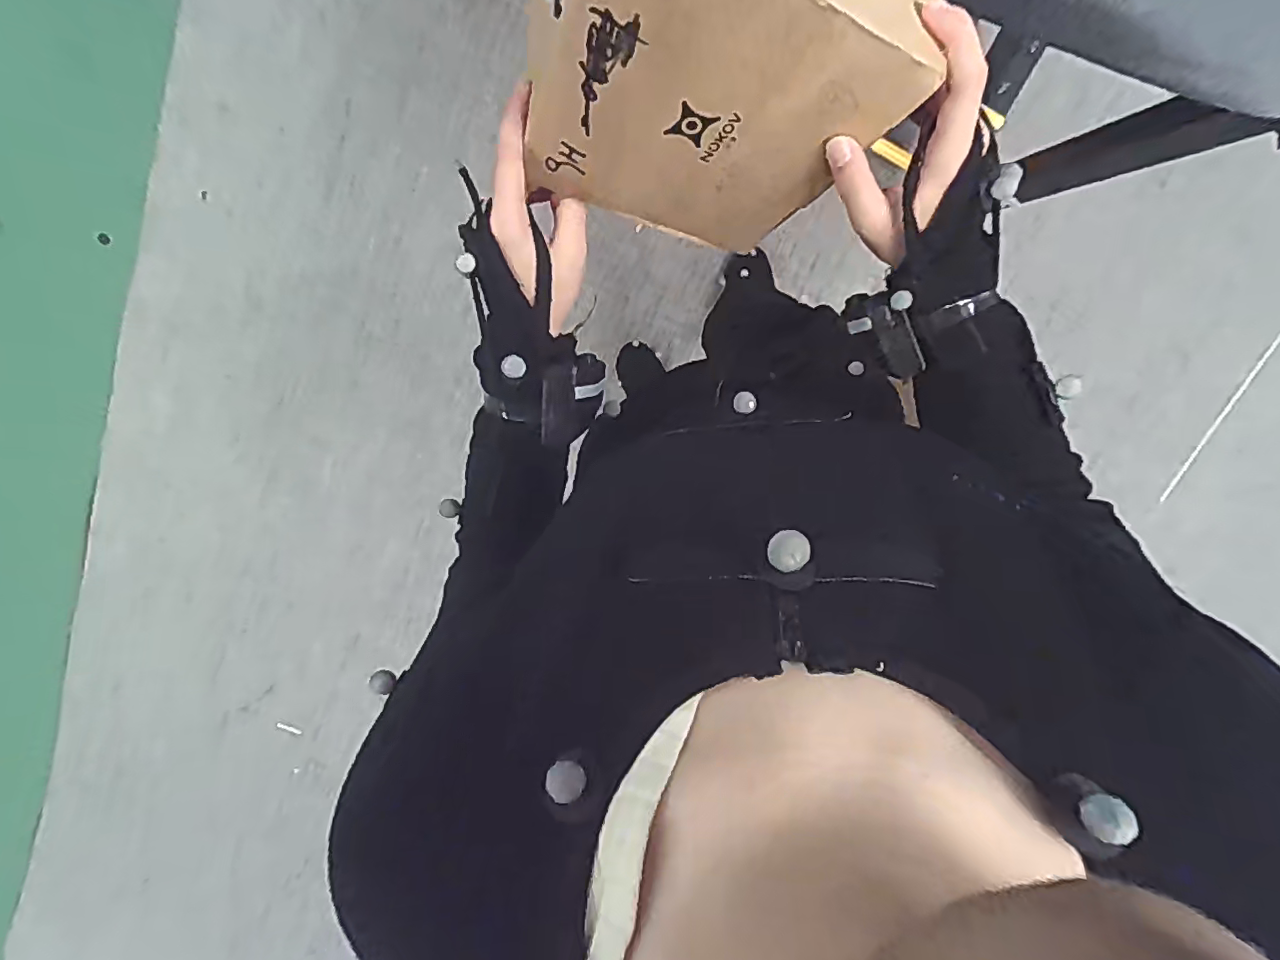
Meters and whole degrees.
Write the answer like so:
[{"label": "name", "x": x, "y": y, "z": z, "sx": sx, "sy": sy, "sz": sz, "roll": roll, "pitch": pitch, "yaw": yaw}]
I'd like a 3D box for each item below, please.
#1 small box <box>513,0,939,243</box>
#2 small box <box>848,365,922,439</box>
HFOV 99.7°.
[{"label": "small box", "x": 0.037, "y": -0.276, "z": 0.309, "sx": 0.179, "sy": 0.168, "sz": 0.176, "roll": 7, "pitch": 78, "yaw": -25}, {"label": "small box", "x": 0.622, "y": -0.158, "z": 1.254, "sx": 0.179, "sy": 0.176, "sz": 0.168, "roll": 25, "pitch": 103, "yaw": -8}]
